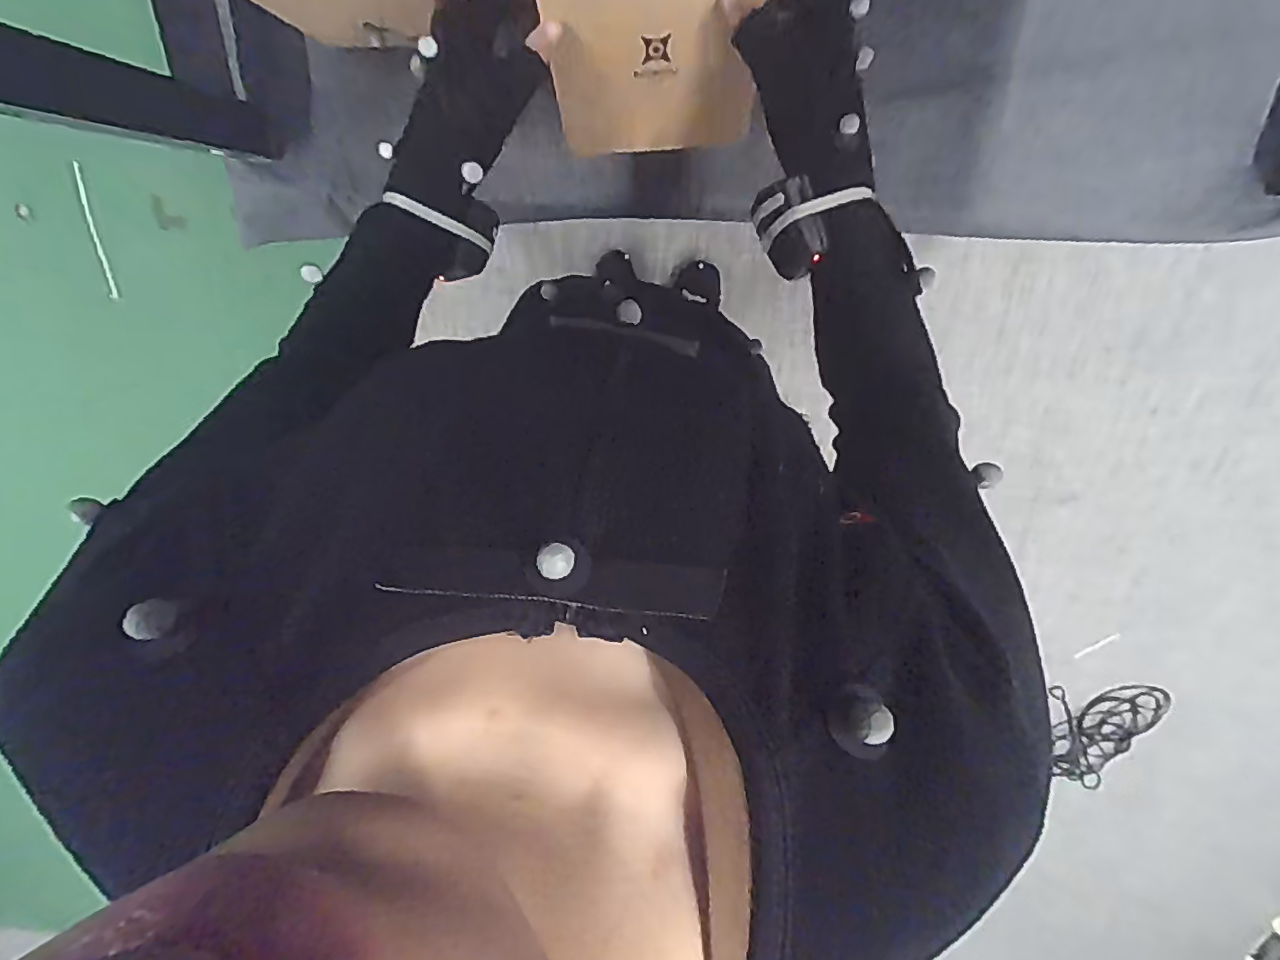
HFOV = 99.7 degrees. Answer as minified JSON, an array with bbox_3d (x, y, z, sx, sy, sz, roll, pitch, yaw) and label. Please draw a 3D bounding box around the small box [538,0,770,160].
[{"bbox_3d":[0.005,-0.400,0.430,0.168,0.179,0.176,-5,76,2],"label":"small box"}]
